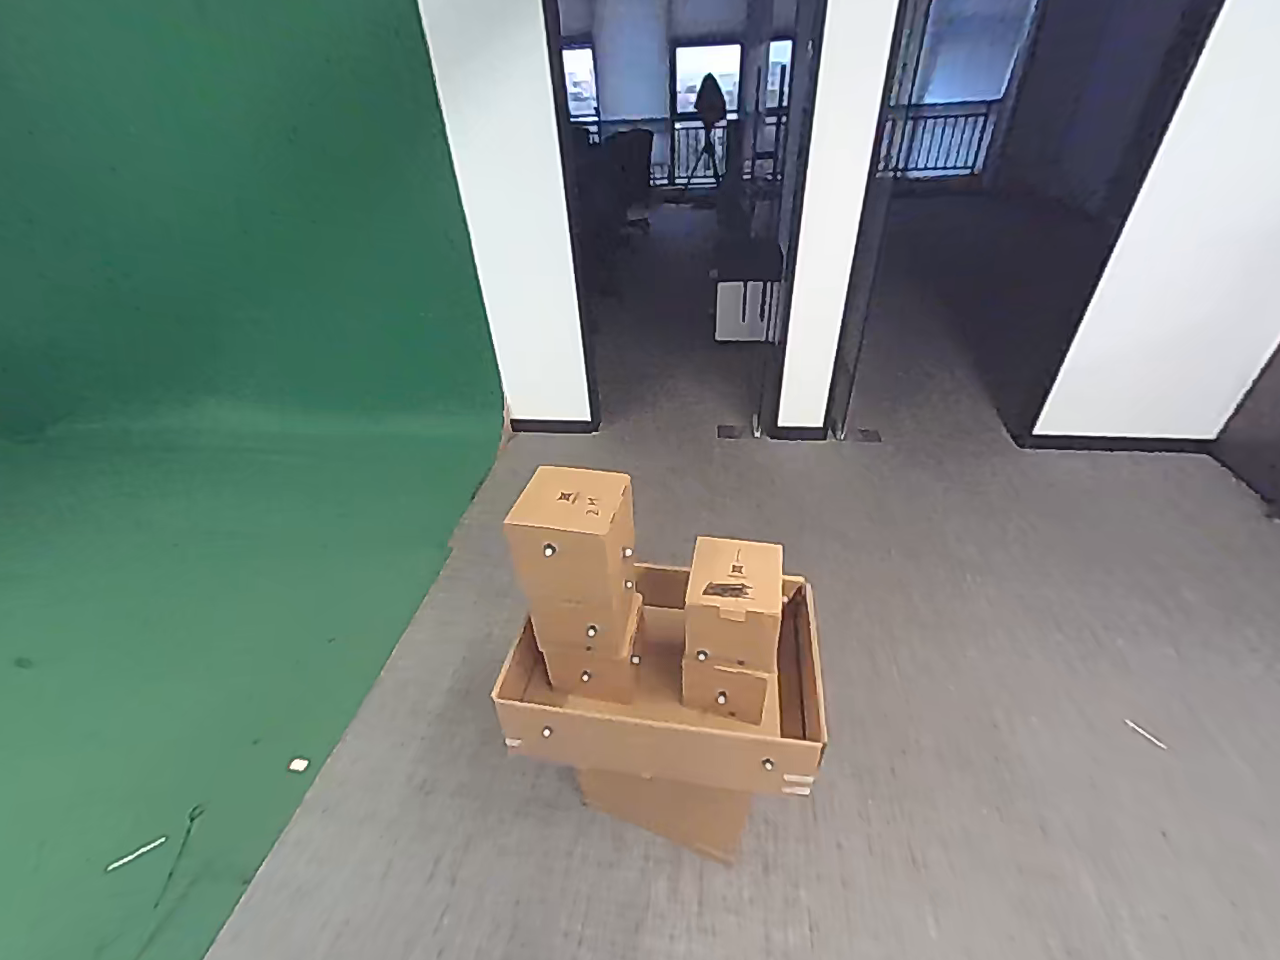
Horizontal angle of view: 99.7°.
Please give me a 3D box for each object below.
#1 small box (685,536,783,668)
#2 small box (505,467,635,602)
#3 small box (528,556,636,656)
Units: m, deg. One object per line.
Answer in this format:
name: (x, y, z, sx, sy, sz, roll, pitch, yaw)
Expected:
small box: (0.181, 0.231, 1.031, 0.168, 0.176, 0.179, 5, 37, 12)
small box: (-0.115, 0.096, 0.967, 0.179, 0.176, 0.168, 6, 38, 12)
small box: (-0.103, 0.224, 1.071, 0.168, 0.176, 0.179, 4, 37, 10)
